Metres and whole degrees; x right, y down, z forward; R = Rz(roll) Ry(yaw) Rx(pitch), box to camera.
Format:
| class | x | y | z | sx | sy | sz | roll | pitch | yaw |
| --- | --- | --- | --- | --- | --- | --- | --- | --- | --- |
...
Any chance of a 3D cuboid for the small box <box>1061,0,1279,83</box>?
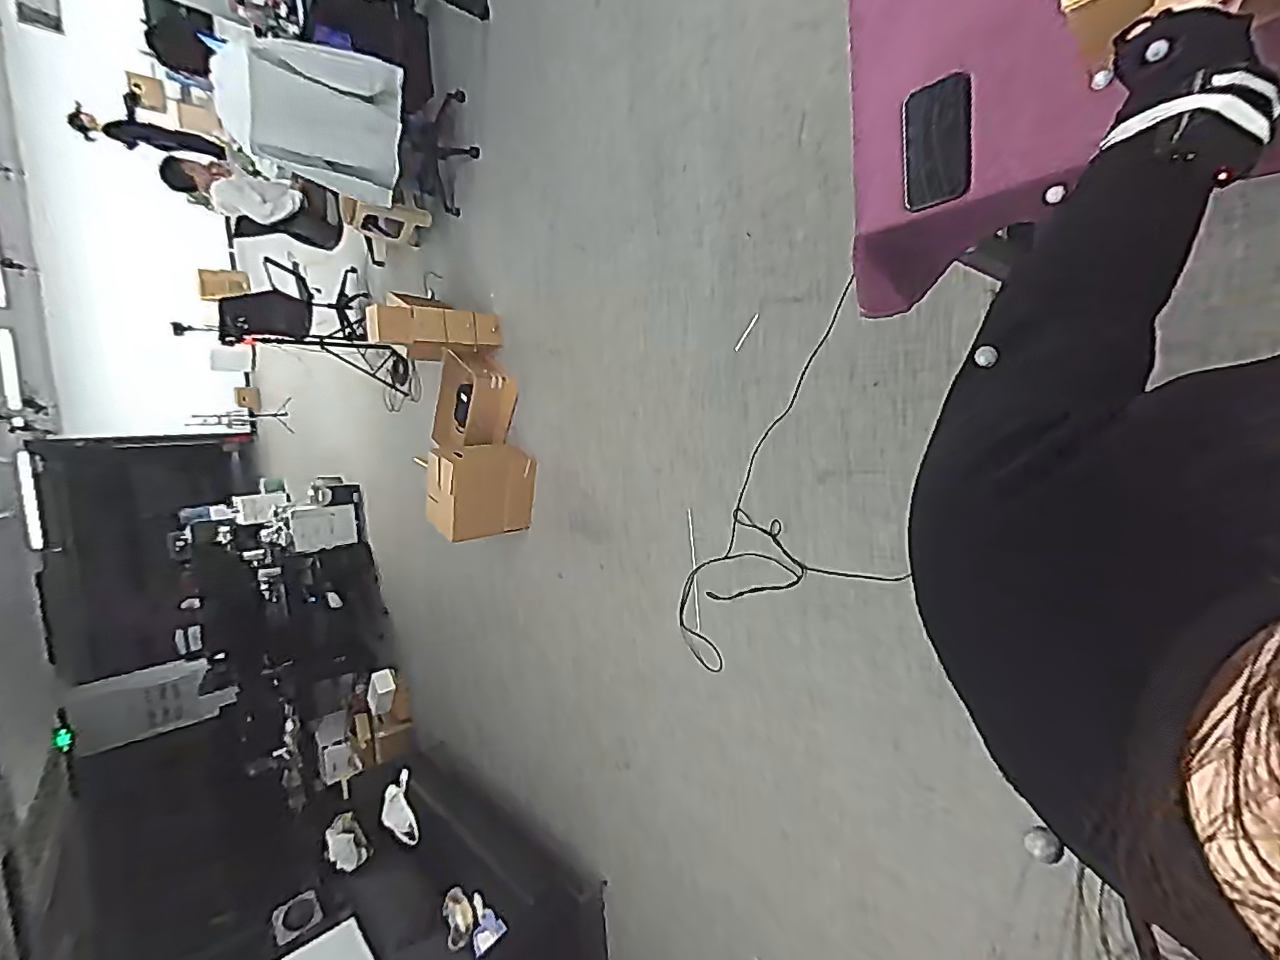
| class | x | y | z | sx | sy | sz | roll | pitch | yaw |
| --- | --- | --- | --- | --- | --- | --- | --- | --- | --- |
| small box | 0.494 | -0.505 | 0.476 | 0.168 | 0.176 | 0.179 | 6 | 100 | 46 |
